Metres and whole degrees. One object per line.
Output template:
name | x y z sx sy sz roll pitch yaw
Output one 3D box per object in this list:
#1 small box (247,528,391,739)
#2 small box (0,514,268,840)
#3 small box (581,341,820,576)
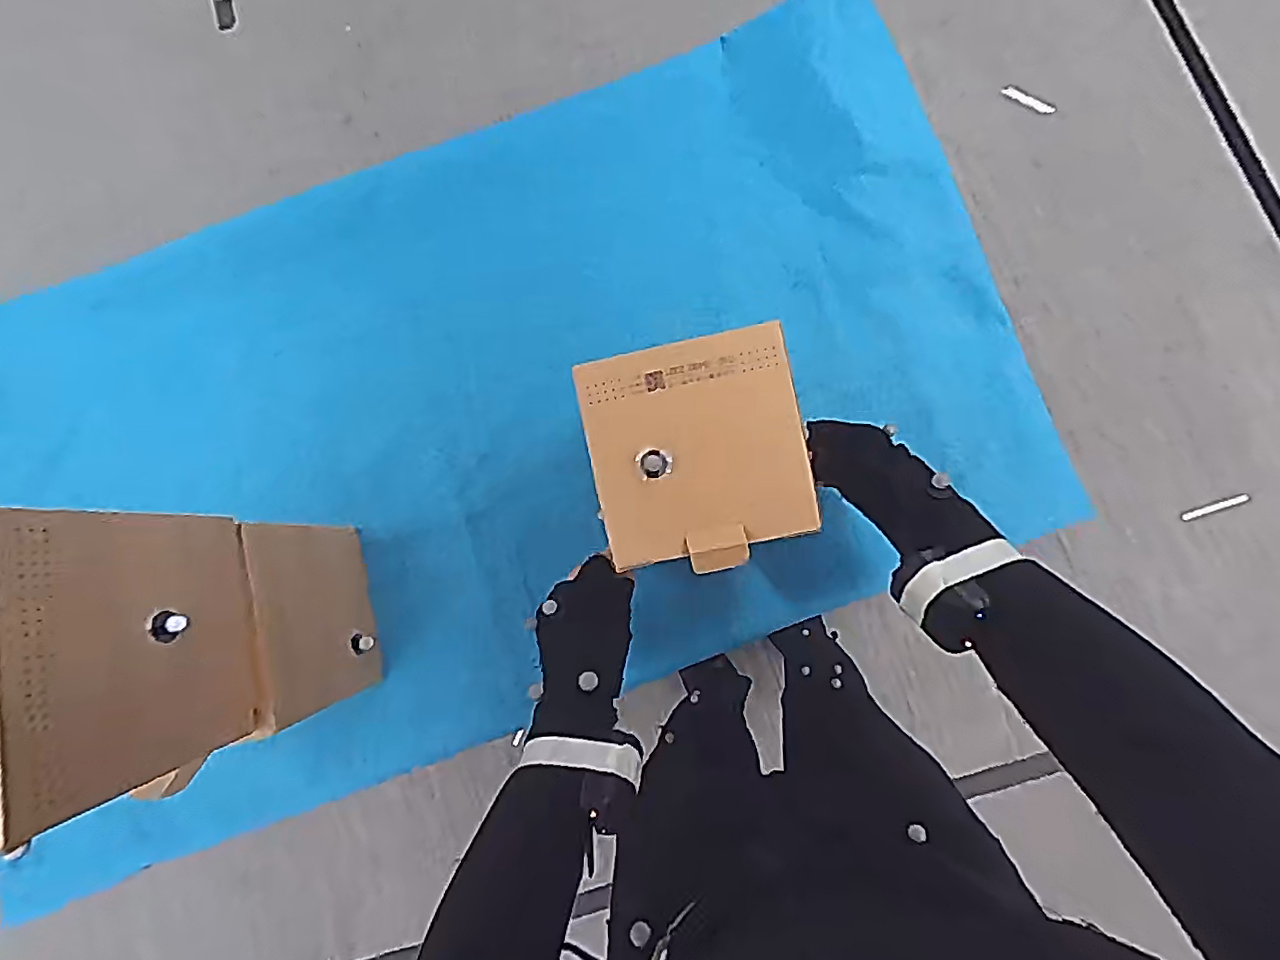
small box | -0.376 0.151 0.525 0.168 0.176 0.179 -15 83 1
small box | -0.397 0.124 0.364 0.168 0.176 0.179 -11 85 2
small box | 0.047 -0.022 0.507 0.168 0.179 0.176 -11 91 1
